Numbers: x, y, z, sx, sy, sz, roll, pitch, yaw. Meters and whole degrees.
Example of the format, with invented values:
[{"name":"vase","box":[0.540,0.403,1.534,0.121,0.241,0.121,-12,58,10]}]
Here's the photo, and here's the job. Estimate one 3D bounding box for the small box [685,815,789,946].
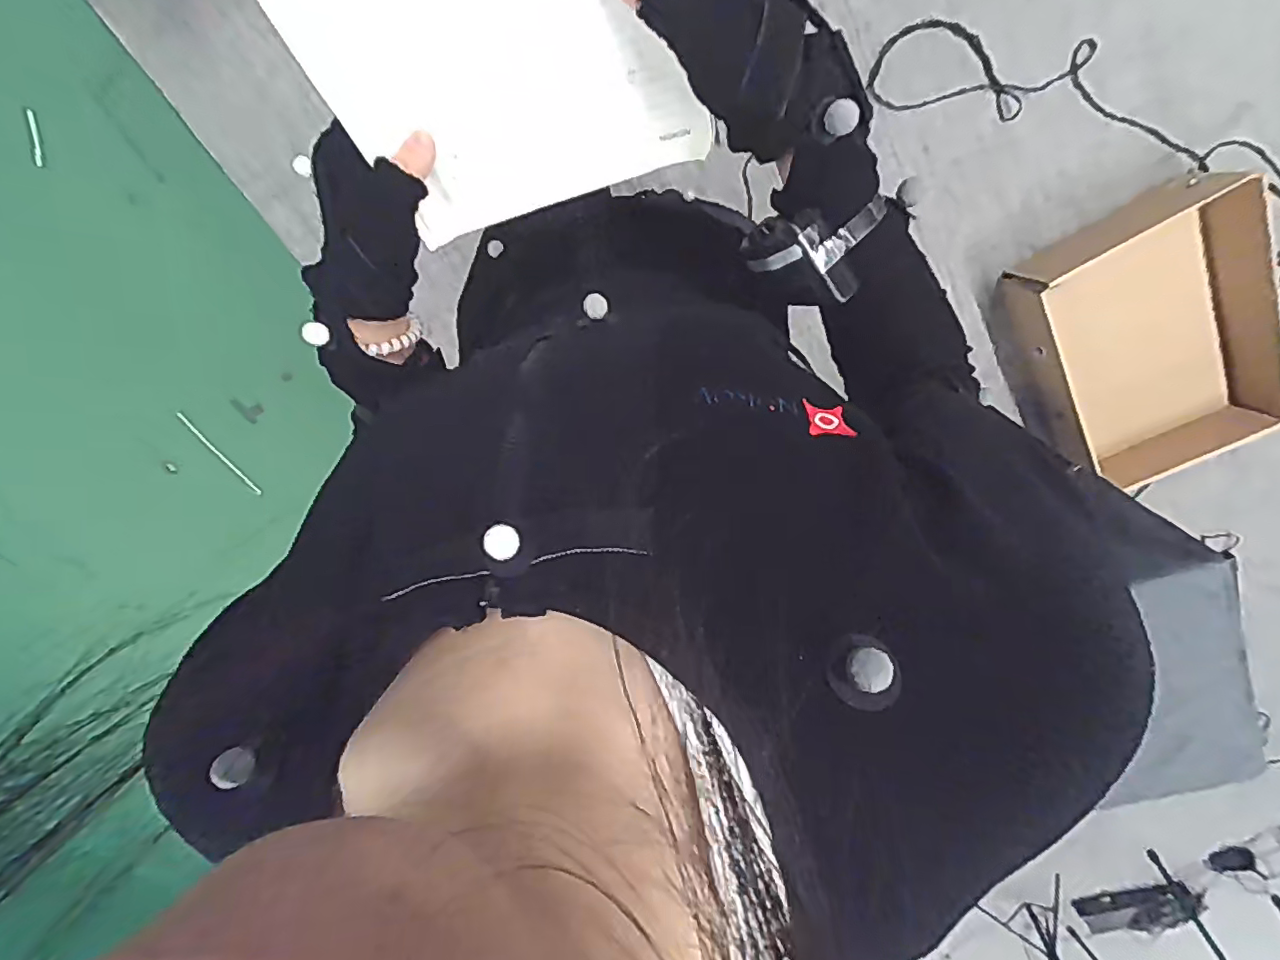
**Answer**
[{"name":"small box","box":[0.208,0.871,1.181,0.168,0.176,0.179,-23,115,15]}]
